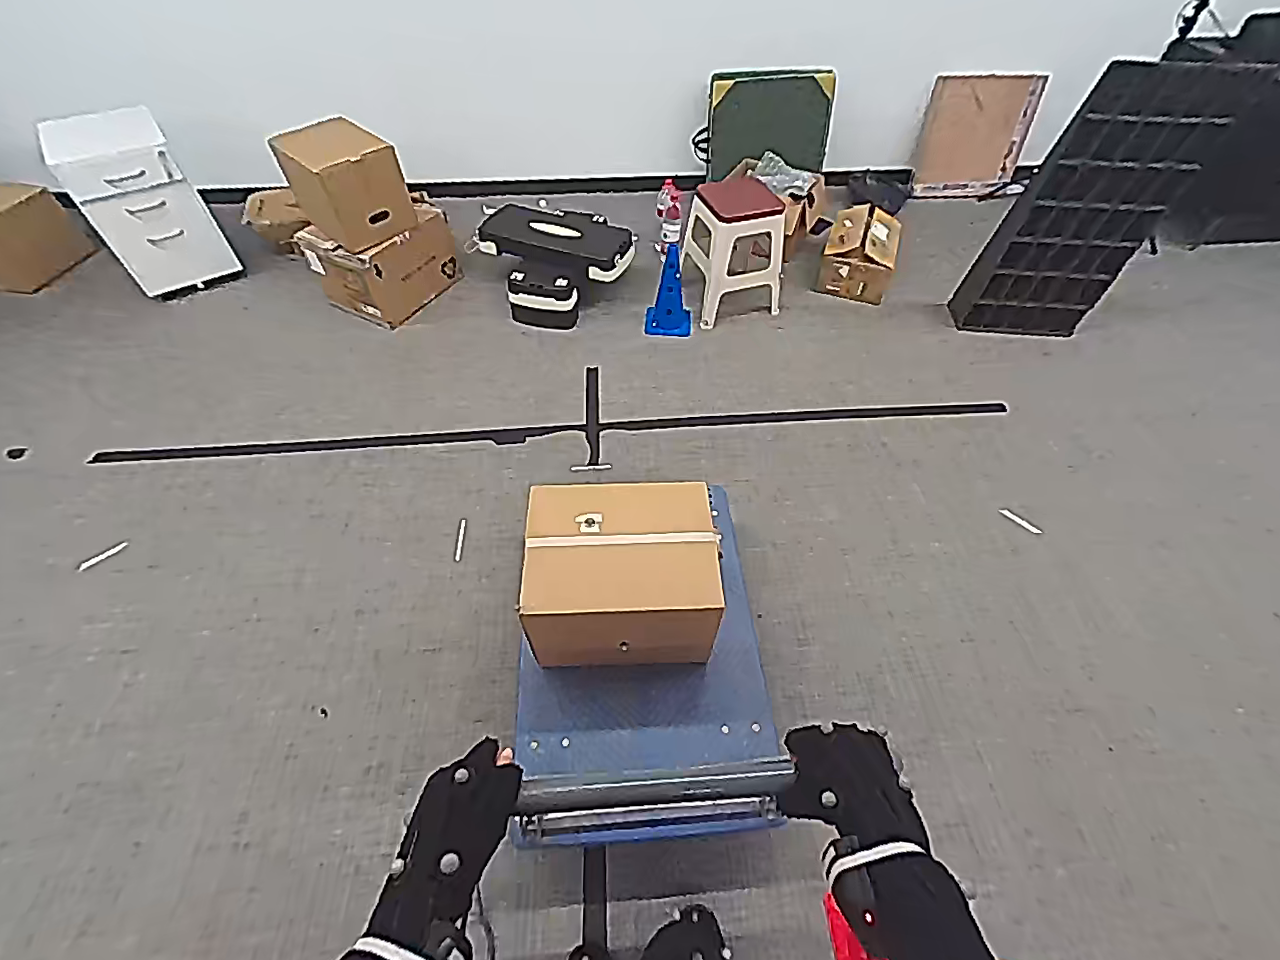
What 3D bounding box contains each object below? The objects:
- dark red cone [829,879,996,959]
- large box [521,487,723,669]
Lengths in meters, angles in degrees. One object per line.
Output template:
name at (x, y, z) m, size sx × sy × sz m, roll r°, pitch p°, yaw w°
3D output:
dark red cone at (0.503, 0.829, 0.956) m, size 0.201 × 0.394 × 0.202 m, roll -2°, pitch 52°, yaw -4°
large box at (-0.040, 0.236, 1.266) m, size 0.408 × 0.320 × 0.320 m, roll -2°, pitch 52°, yaw -1°
